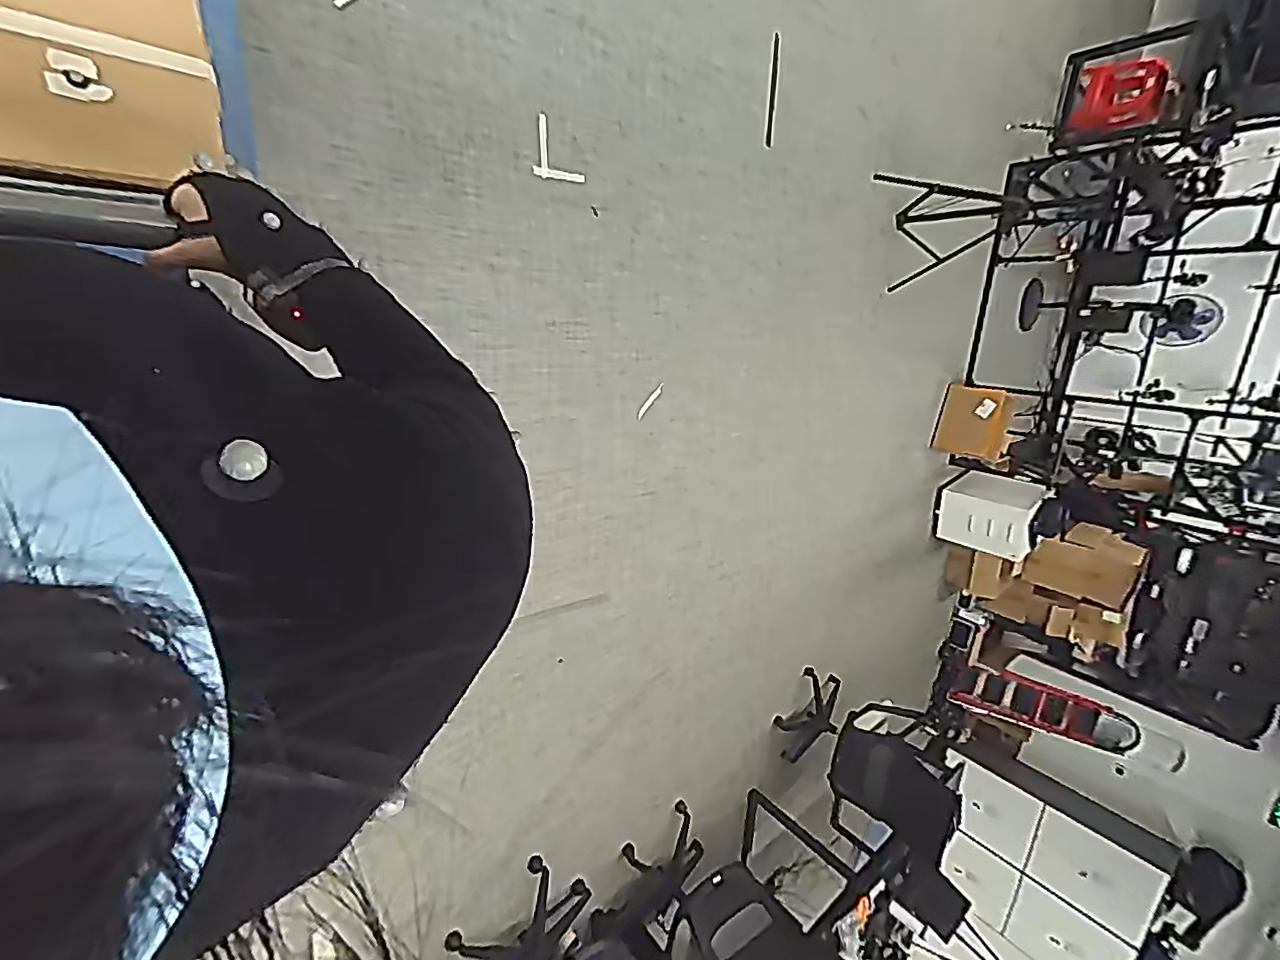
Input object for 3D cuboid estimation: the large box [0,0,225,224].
[{"bbox_3d":[-0.835,-0.542,0.709,0.408,0.320,0.320,-12,112,-40],"label":"large box"}]
